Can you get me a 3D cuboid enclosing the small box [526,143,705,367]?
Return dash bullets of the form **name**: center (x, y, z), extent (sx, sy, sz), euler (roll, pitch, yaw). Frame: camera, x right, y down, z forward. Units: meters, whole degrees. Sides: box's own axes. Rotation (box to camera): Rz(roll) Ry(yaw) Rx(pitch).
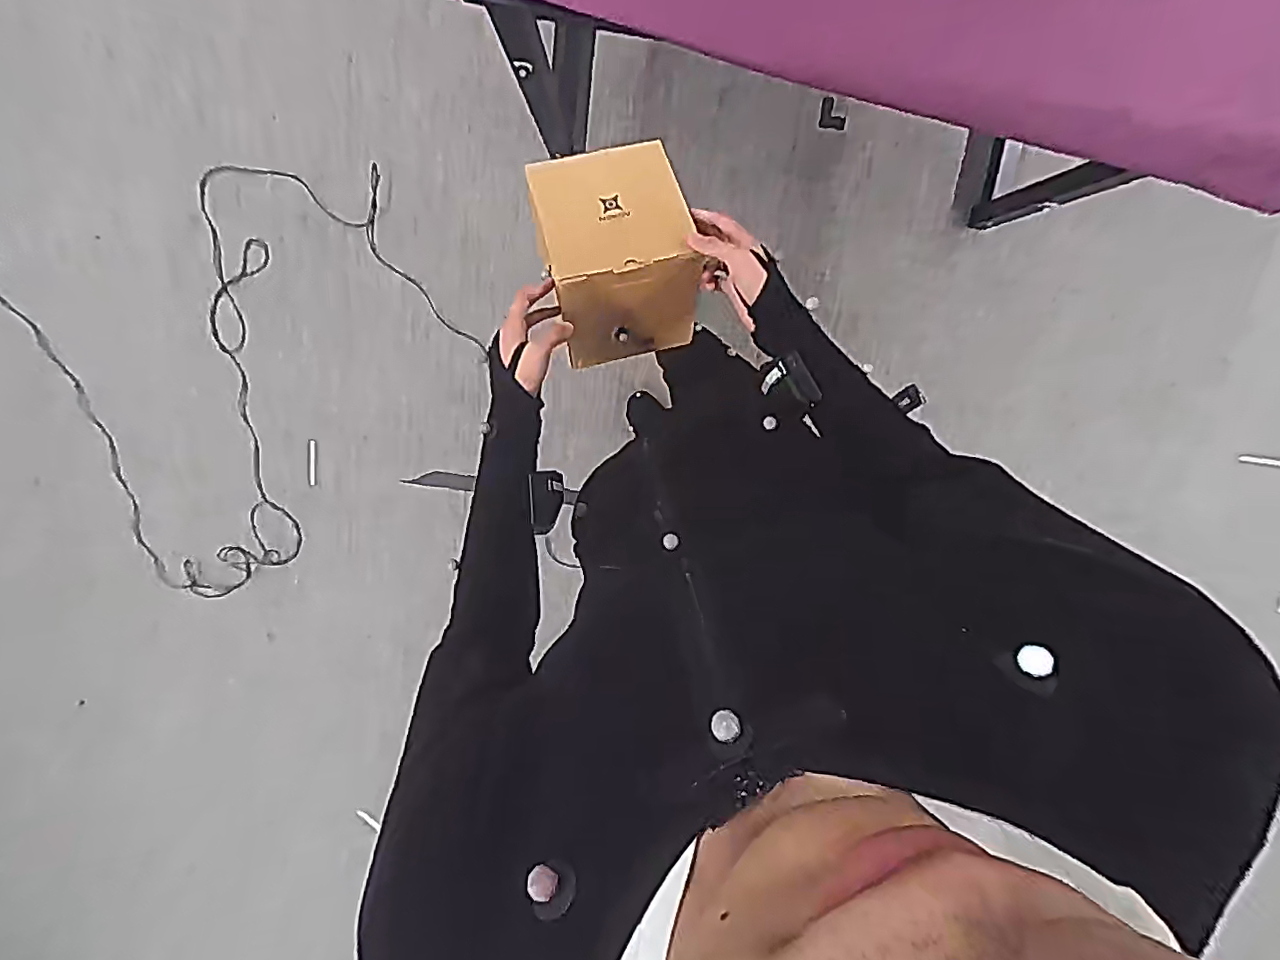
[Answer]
- **small box**: center (-0.033, -0.271, 0.671), extent (0.168, 0.176, 0.179), euler (-15, 70, -7)
